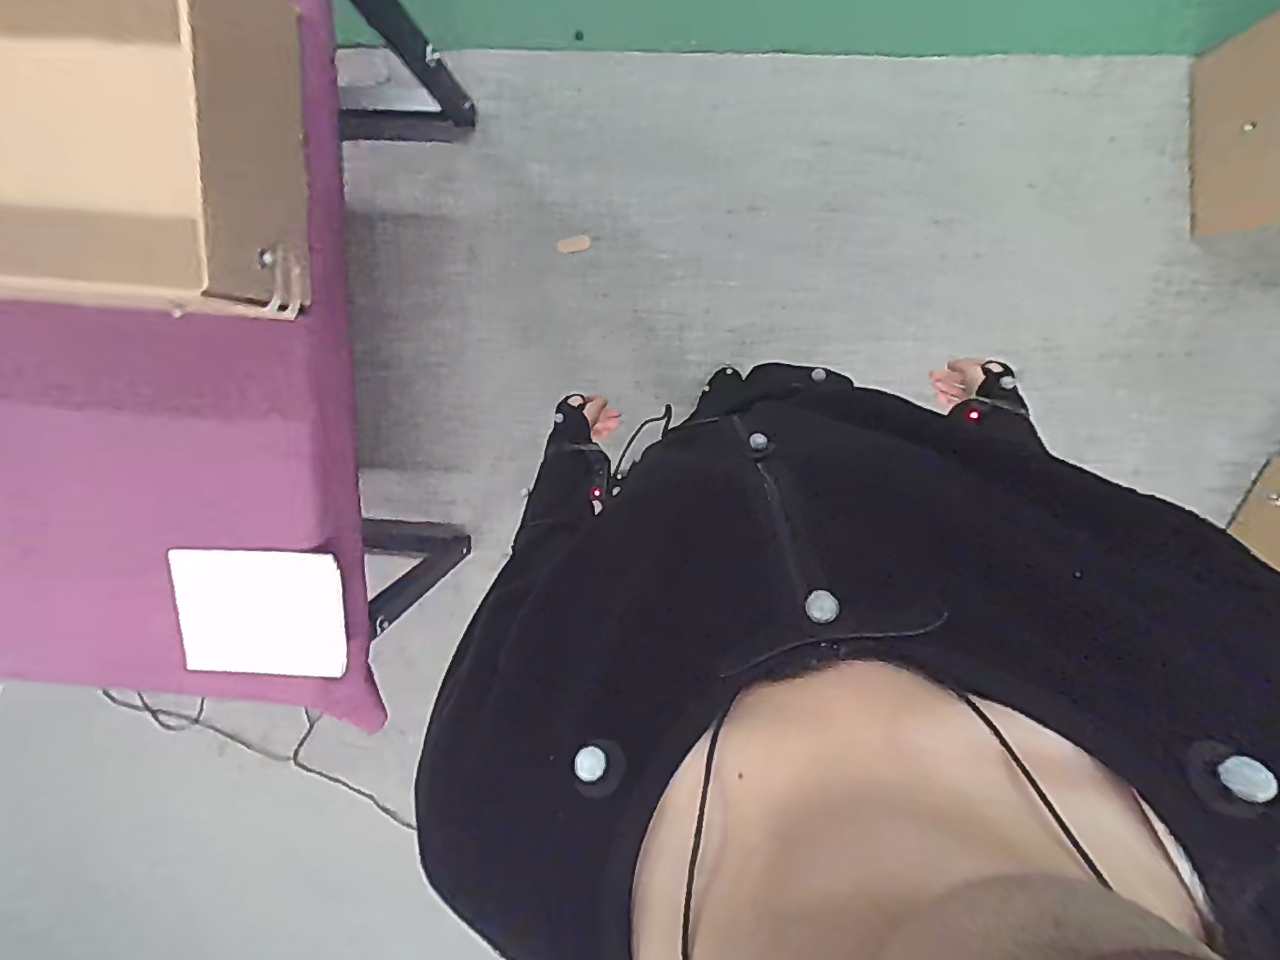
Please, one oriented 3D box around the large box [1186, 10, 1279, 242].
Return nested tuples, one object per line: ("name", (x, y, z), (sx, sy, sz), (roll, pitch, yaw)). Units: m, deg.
("large box", (1.461, -0.778, 1.137), (0.320, 0.320, 0.408), (-11, 98, 4))
